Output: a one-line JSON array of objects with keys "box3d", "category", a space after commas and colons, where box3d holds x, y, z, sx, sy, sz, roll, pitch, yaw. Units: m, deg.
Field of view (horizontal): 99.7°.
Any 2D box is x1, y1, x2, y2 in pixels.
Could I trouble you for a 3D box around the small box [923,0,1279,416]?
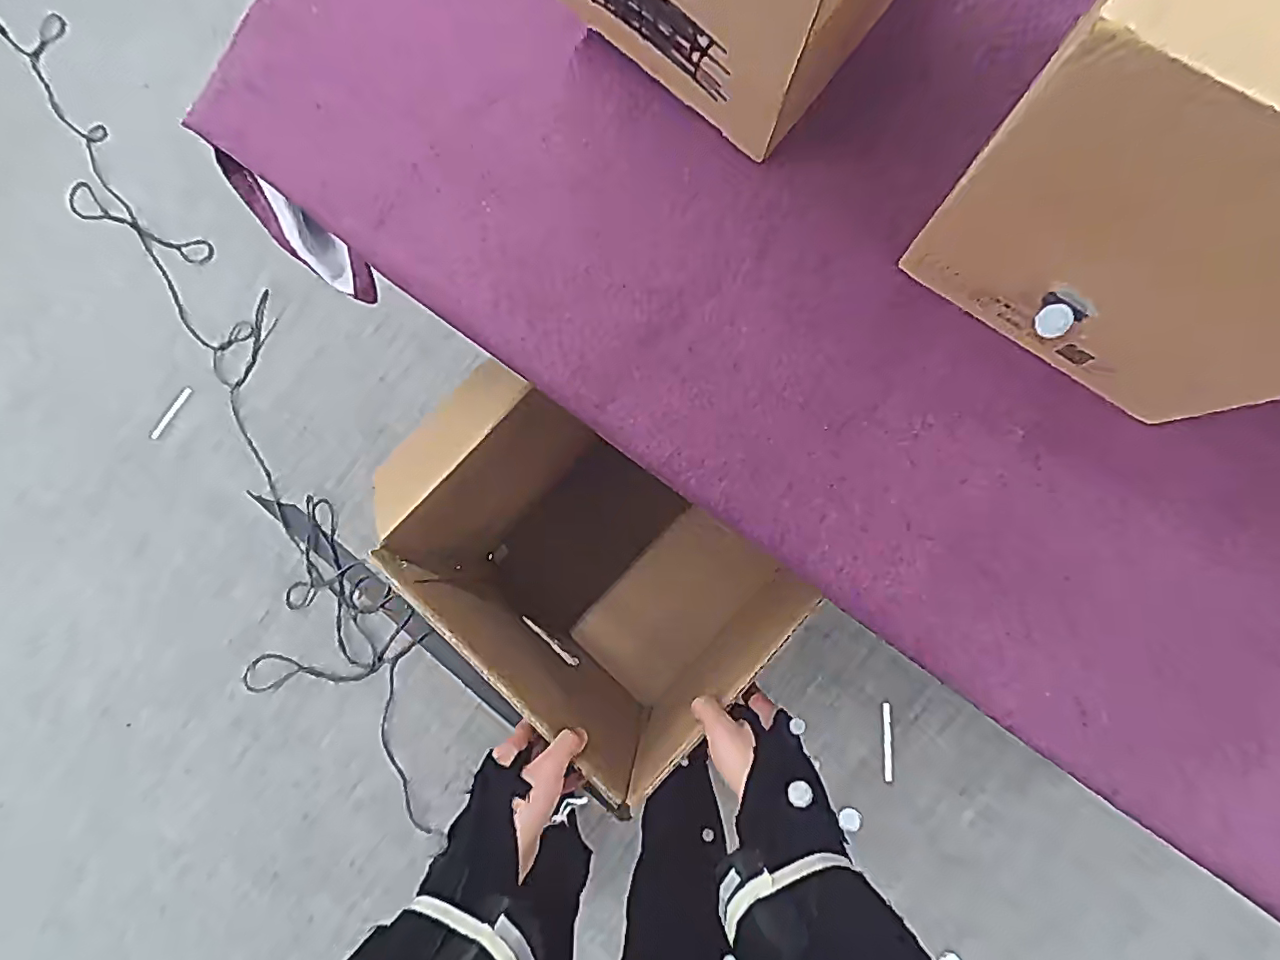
[{"box3d": [0.265, -0.152, 0.236, 0.168, 0.176, 0.179, 37, 91, 8], "category": "small box"}]
